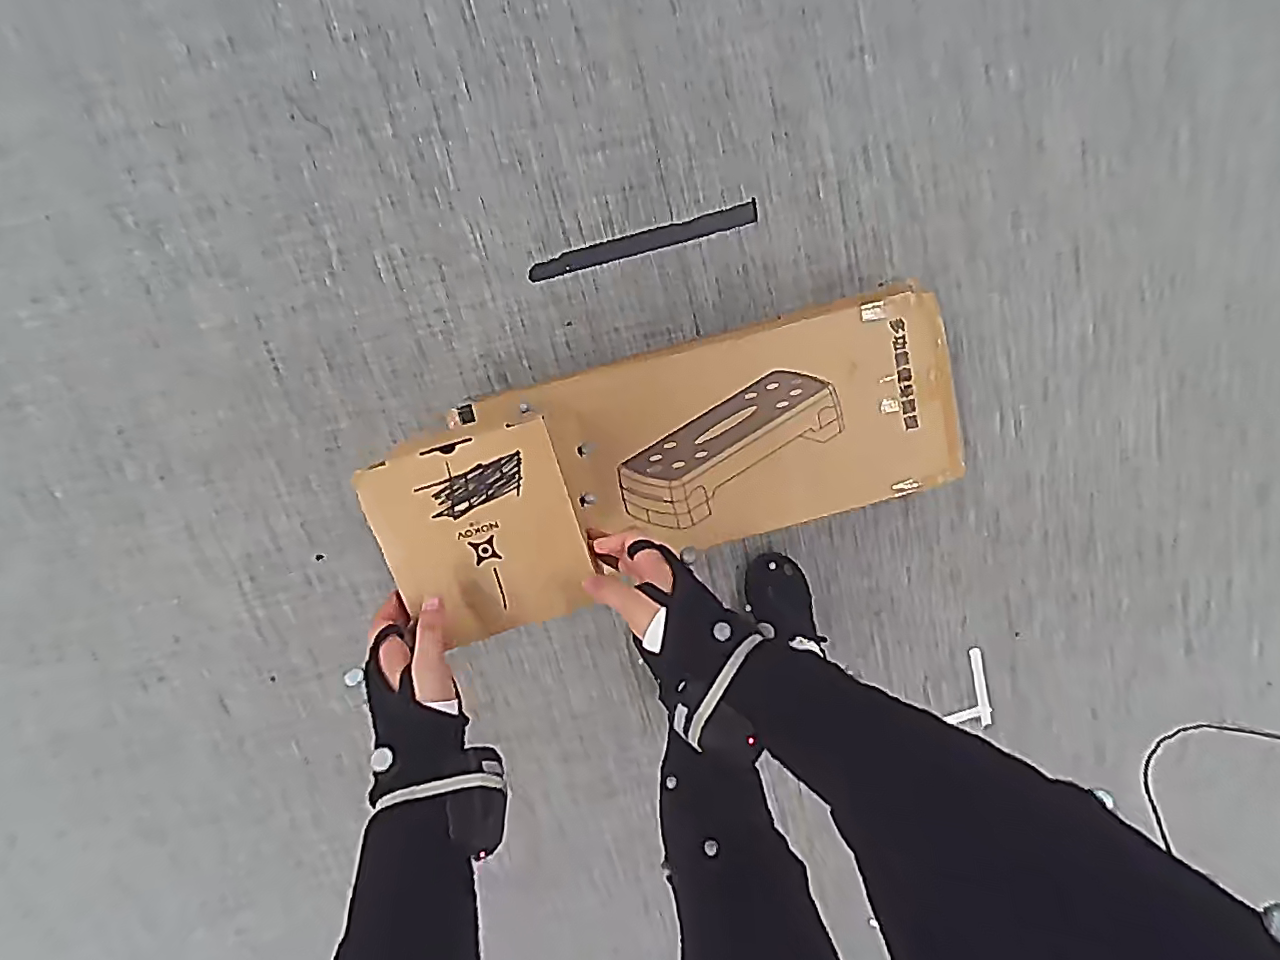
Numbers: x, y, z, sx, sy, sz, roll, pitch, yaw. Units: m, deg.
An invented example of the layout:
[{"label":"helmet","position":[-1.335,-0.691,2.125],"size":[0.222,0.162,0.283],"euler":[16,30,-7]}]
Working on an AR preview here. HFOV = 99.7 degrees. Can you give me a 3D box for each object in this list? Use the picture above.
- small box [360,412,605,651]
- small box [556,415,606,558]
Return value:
[{"label":"small box","position":[-0.139,0.035,0.543],"size":[0.168,0.176,0.179],"euler":[-17,103,-1]},{"label":"small box","position":[-0.146,0.016,0.706],"size":[0.168,0.176,0.179],"euler":[-15,102,-1]}]
